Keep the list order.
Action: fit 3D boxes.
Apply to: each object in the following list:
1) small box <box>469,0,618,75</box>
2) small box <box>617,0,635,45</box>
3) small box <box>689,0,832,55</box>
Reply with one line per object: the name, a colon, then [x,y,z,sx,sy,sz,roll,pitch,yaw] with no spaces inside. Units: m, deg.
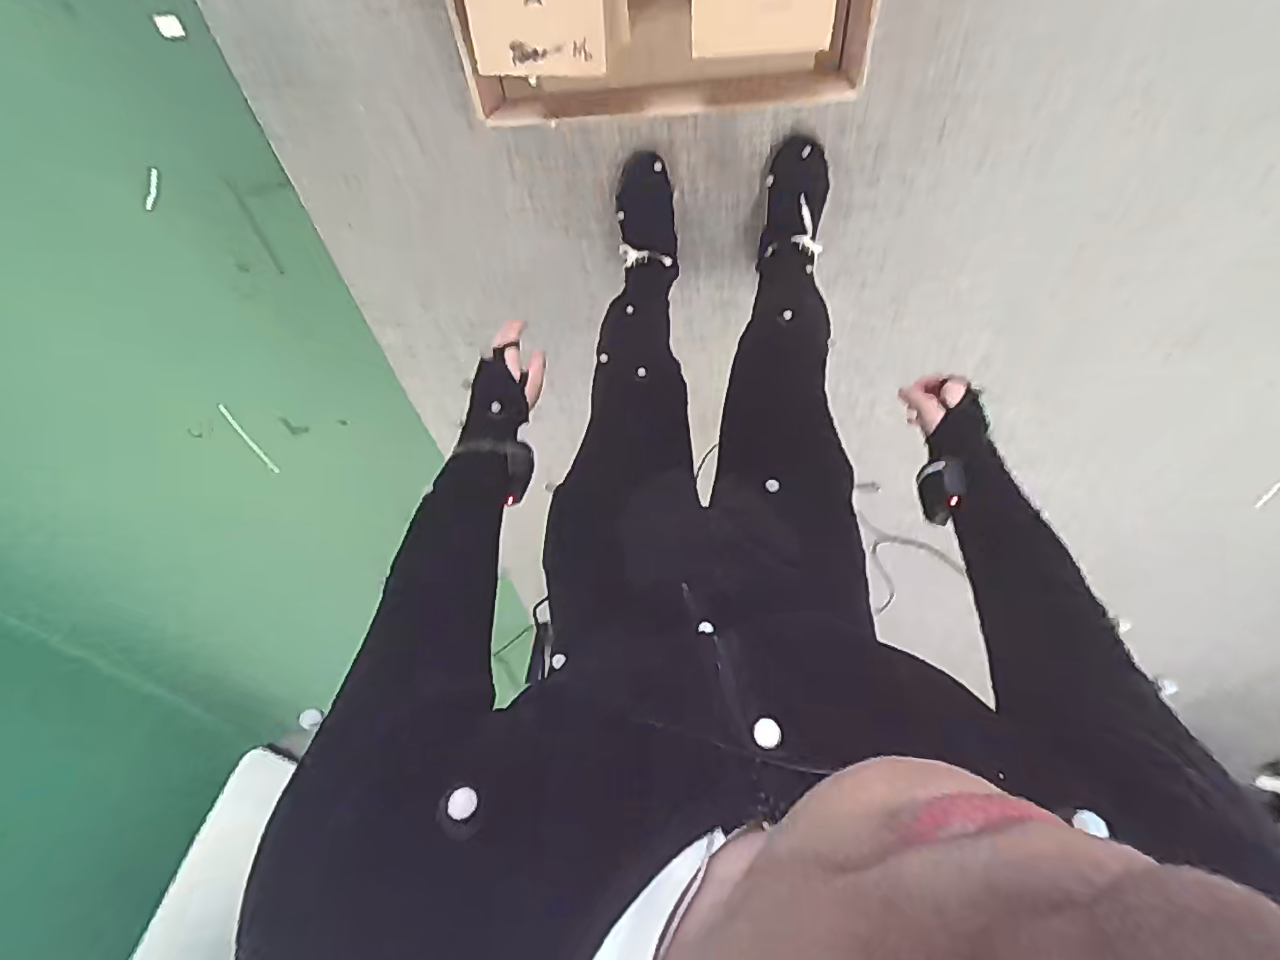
small box: [-0.117,-0.636,0.680,0.168,0.176,0.179,4,137,2]
small box: [-0.100,-0.757,0.791,0.168,0.176,0.179,-2,138,6]
small box: [0.144,-0.641,0.651,0.168,0.176,0.179,2,138,7]
